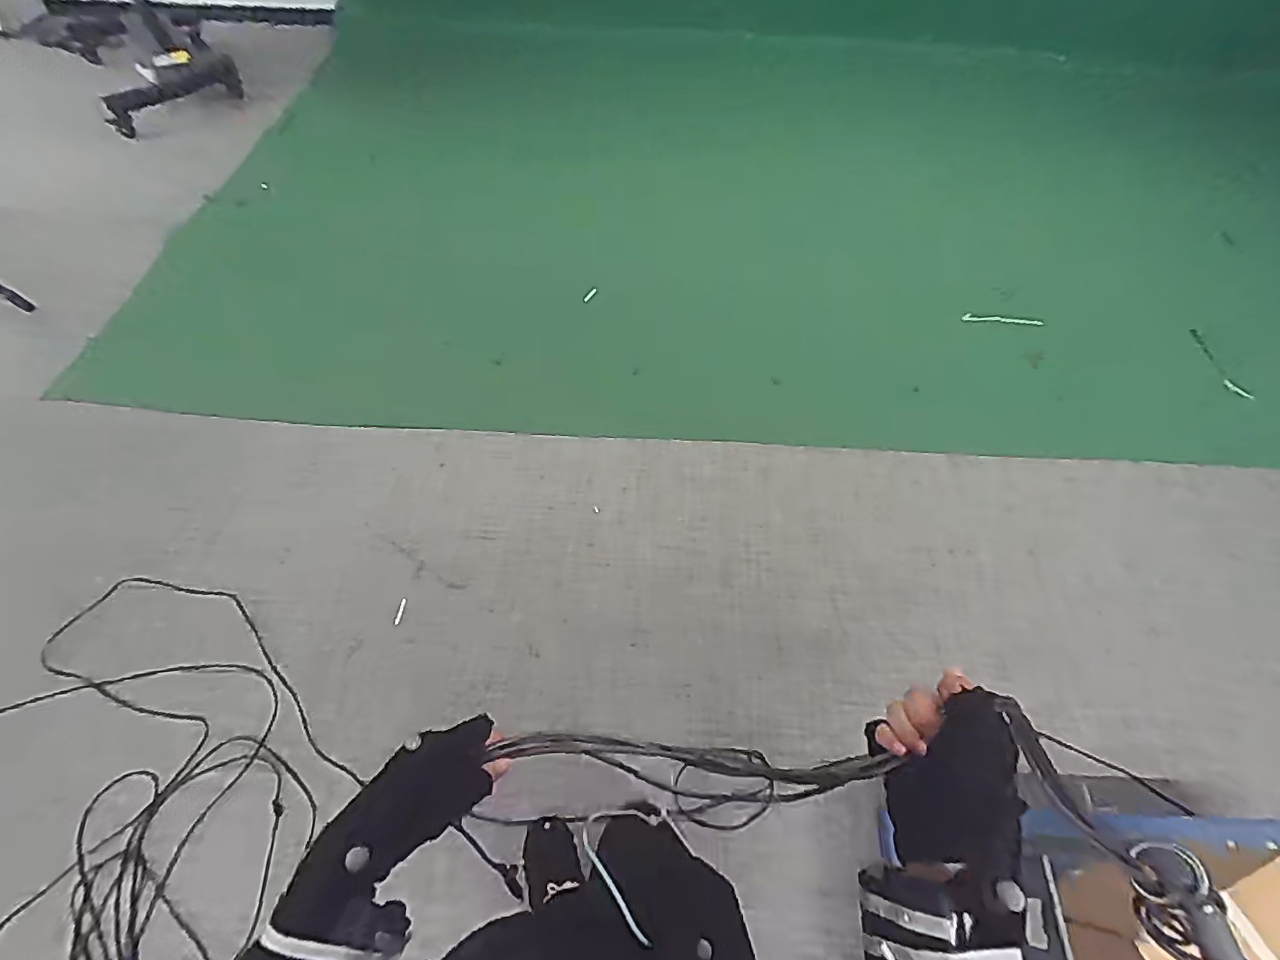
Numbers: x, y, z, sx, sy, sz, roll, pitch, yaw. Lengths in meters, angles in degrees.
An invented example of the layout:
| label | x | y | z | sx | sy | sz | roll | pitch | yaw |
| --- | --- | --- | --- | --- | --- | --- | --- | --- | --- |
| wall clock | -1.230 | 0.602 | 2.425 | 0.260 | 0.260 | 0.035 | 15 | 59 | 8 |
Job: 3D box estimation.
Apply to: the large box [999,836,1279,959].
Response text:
| label | x | y | z | sx | sy | sz | roll | pitch | yaw |
| --- | --- | --- | --- | --- | --- | --- | --- | --- | --- |
| large box | 0.885 | 0.833 | 0.832 | 0.320 | 0.320 | 0.408 | -16 | 60 | -11 |
